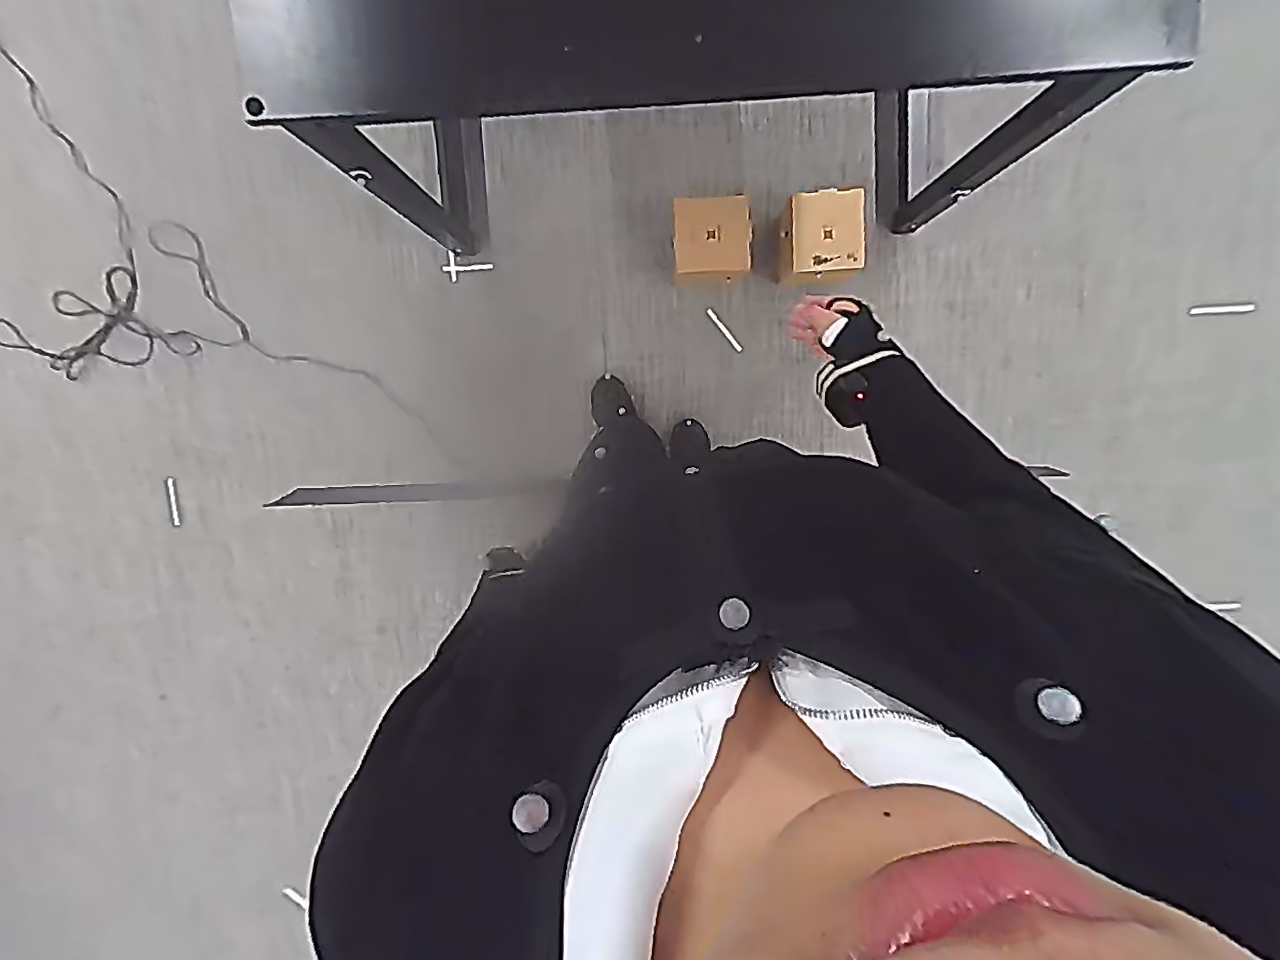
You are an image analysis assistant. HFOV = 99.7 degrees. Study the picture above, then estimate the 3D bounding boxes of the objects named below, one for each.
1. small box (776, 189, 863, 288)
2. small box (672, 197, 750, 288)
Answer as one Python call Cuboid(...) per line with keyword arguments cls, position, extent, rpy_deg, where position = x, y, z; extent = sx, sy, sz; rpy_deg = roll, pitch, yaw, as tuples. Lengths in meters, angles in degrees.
Cuboid(cls="small box", position=(0.433, -0.583, 1.320), extent=(0.168, 0.176, 0.179), rpy_deg=(-3, 97, 3))
Cuboid(cls="small box", position=(0.170, -0.578, 1.332), extent=(0.179, 0.176, 0.168), rpy_deg=(-3, 97, 3))
